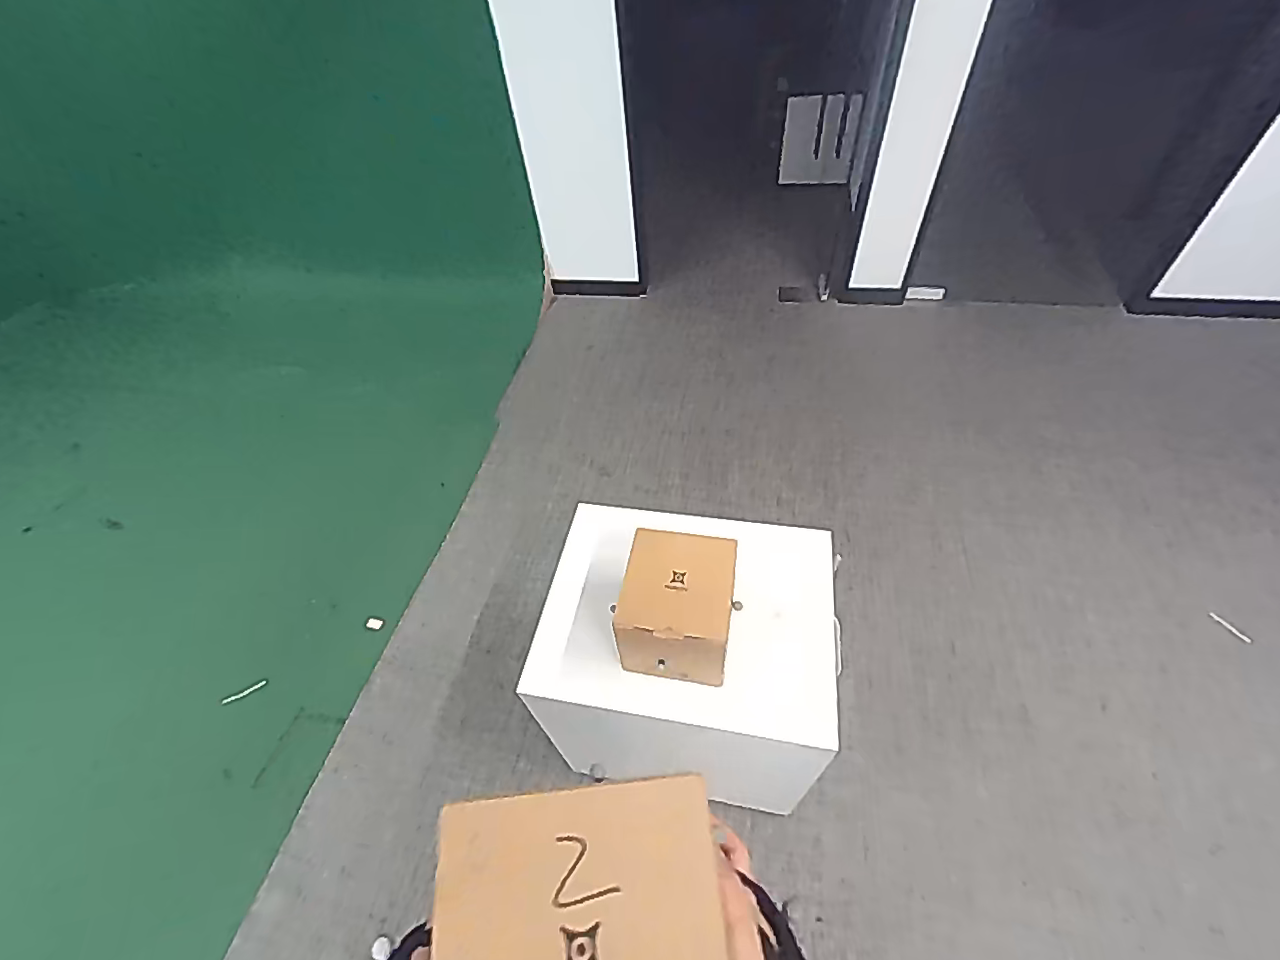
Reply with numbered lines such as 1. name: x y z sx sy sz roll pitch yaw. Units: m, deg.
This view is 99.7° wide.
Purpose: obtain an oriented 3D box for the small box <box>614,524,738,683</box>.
1. small box: 0.062 0.197 0.863 0.168 0.176 0.179 6 50 10
